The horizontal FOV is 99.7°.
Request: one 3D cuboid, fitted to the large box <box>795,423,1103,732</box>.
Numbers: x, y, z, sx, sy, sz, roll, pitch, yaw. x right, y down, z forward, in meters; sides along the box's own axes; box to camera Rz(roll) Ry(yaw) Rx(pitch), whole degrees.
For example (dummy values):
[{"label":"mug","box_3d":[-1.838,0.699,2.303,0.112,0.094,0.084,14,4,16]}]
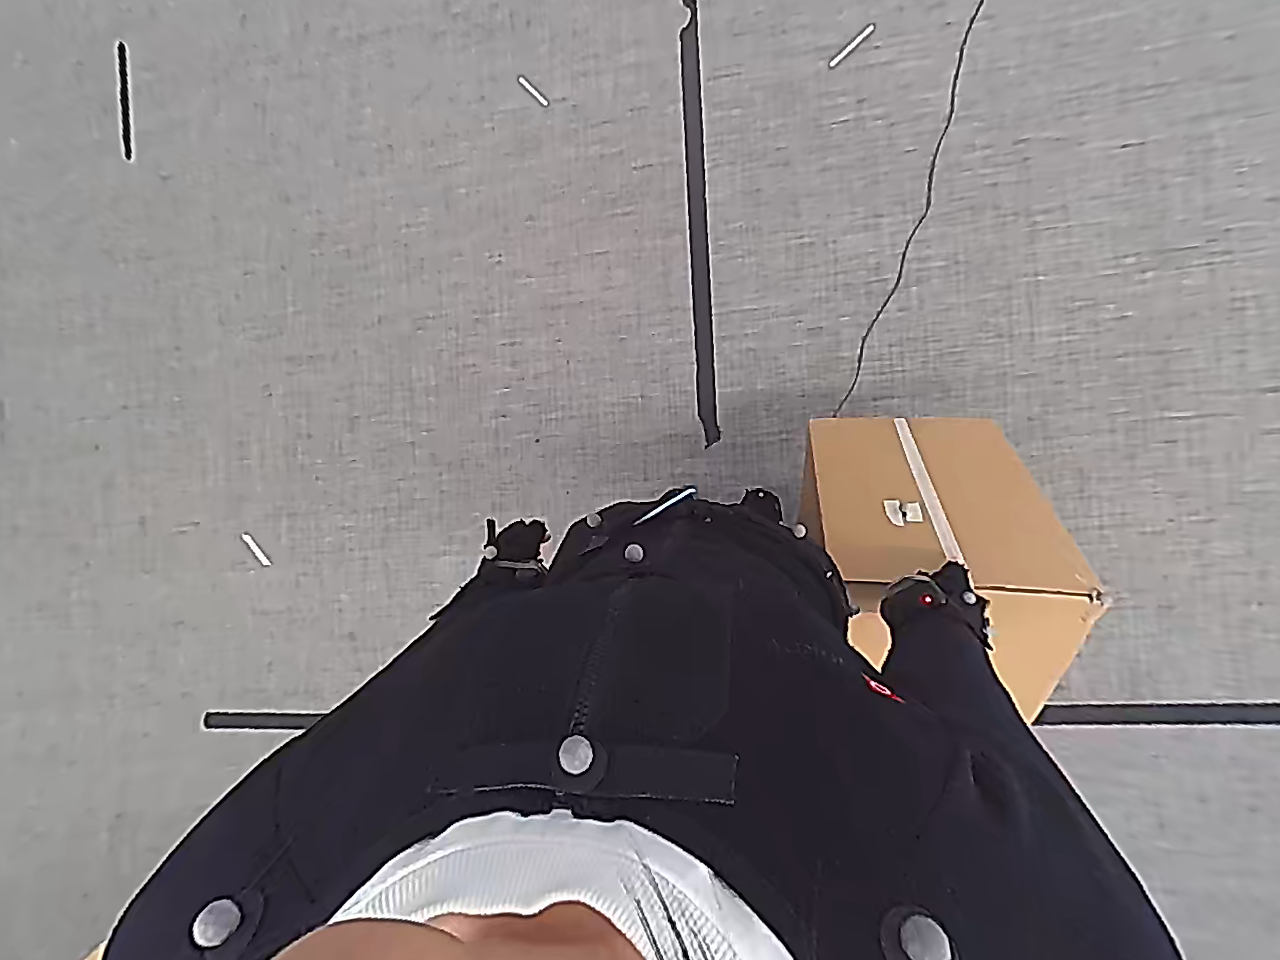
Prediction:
[{"label":"large box","box_3d":[0.443,0.141,0.910,0.320,0.408,0.320,1,128,11]}]
